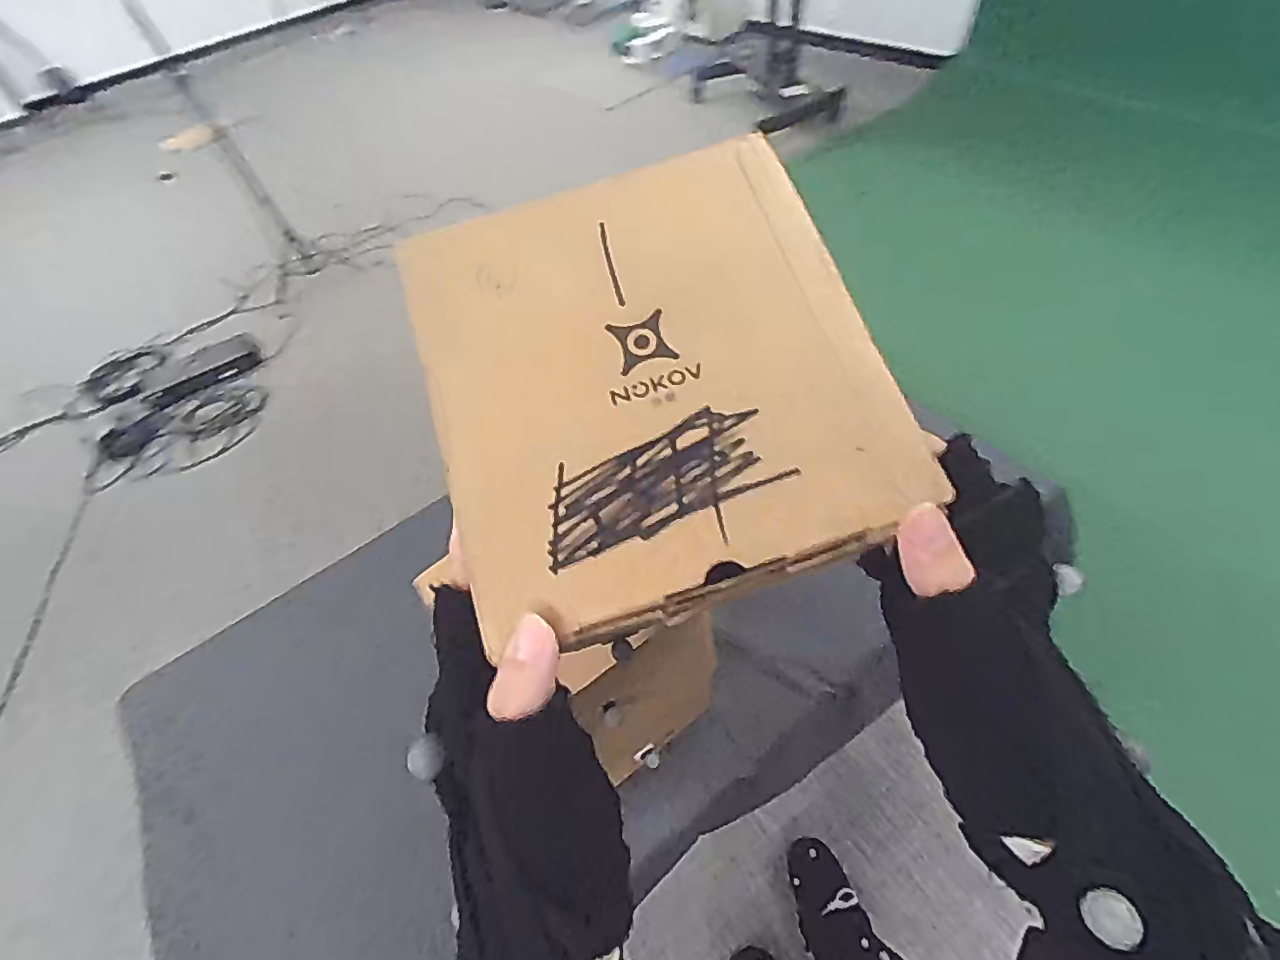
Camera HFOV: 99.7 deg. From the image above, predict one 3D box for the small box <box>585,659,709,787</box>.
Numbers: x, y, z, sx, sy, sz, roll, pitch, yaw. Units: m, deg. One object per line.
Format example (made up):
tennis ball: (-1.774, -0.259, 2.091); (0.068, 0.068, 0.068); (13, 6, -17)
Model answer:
small box: (-0.039, 0.218, 0.622); (0.168, 0.176, 0.179); (-37, 55, -16)

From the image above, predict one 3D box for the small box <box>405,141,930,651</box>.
small box: (0.006, -0.023, 0.285); (0.168, 0.176, 0.179); (-17, 73, -2)

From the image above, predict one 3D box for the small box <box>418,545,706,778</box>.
small box: (-0.058, 0.130, 0.487); (0.179, 0.176, 0.168); (-35, 51, -17)
